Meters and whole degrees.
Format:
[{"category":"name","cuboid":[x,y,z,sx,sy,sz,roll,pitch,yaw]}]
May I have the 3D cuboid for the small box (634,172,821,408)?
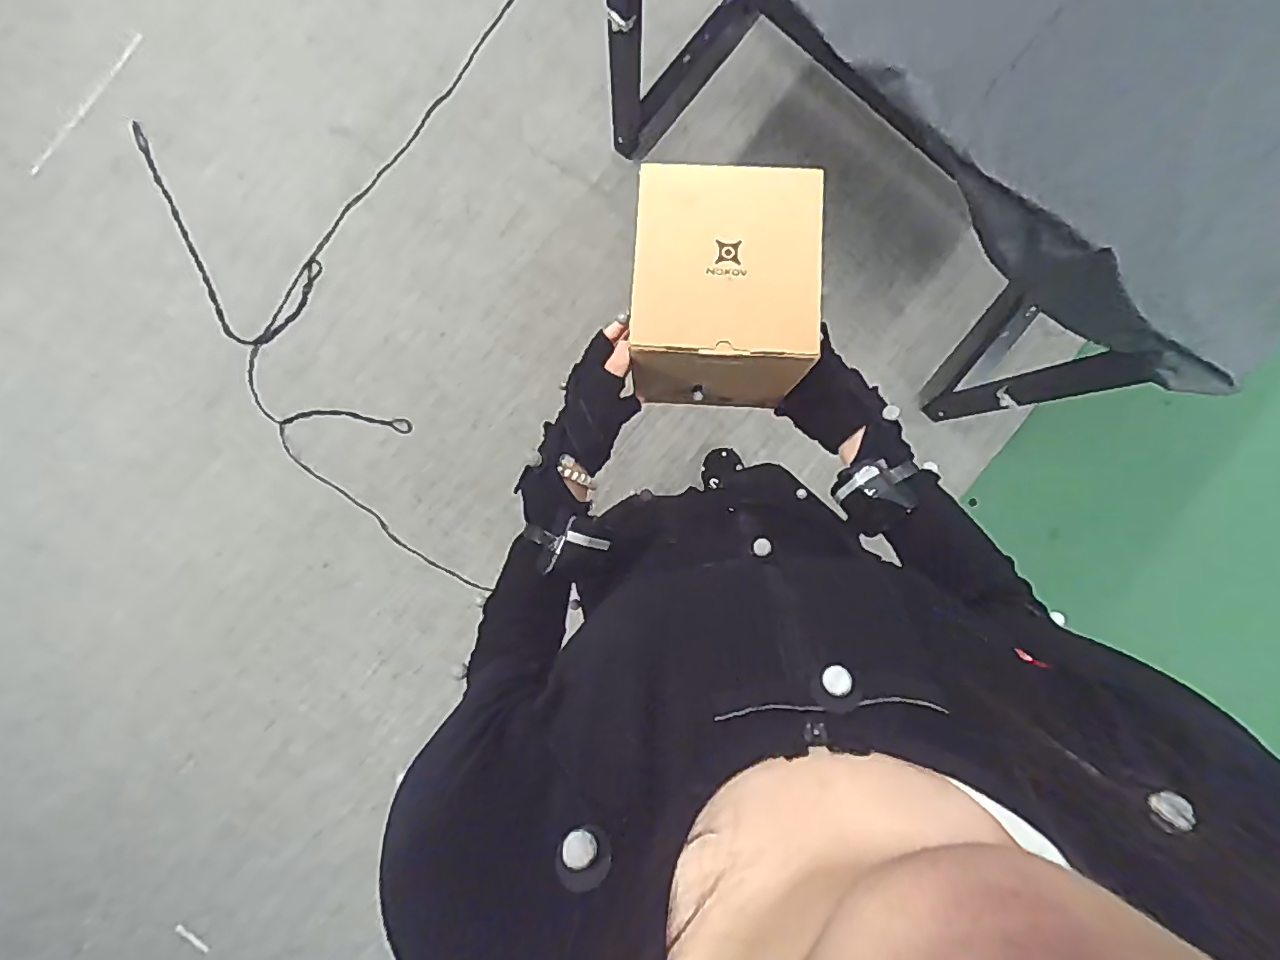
[{"category":"small box","cuboid":[0.081,-0.185,0.568,0.168,0.176,0.179,3,84,2]}]
